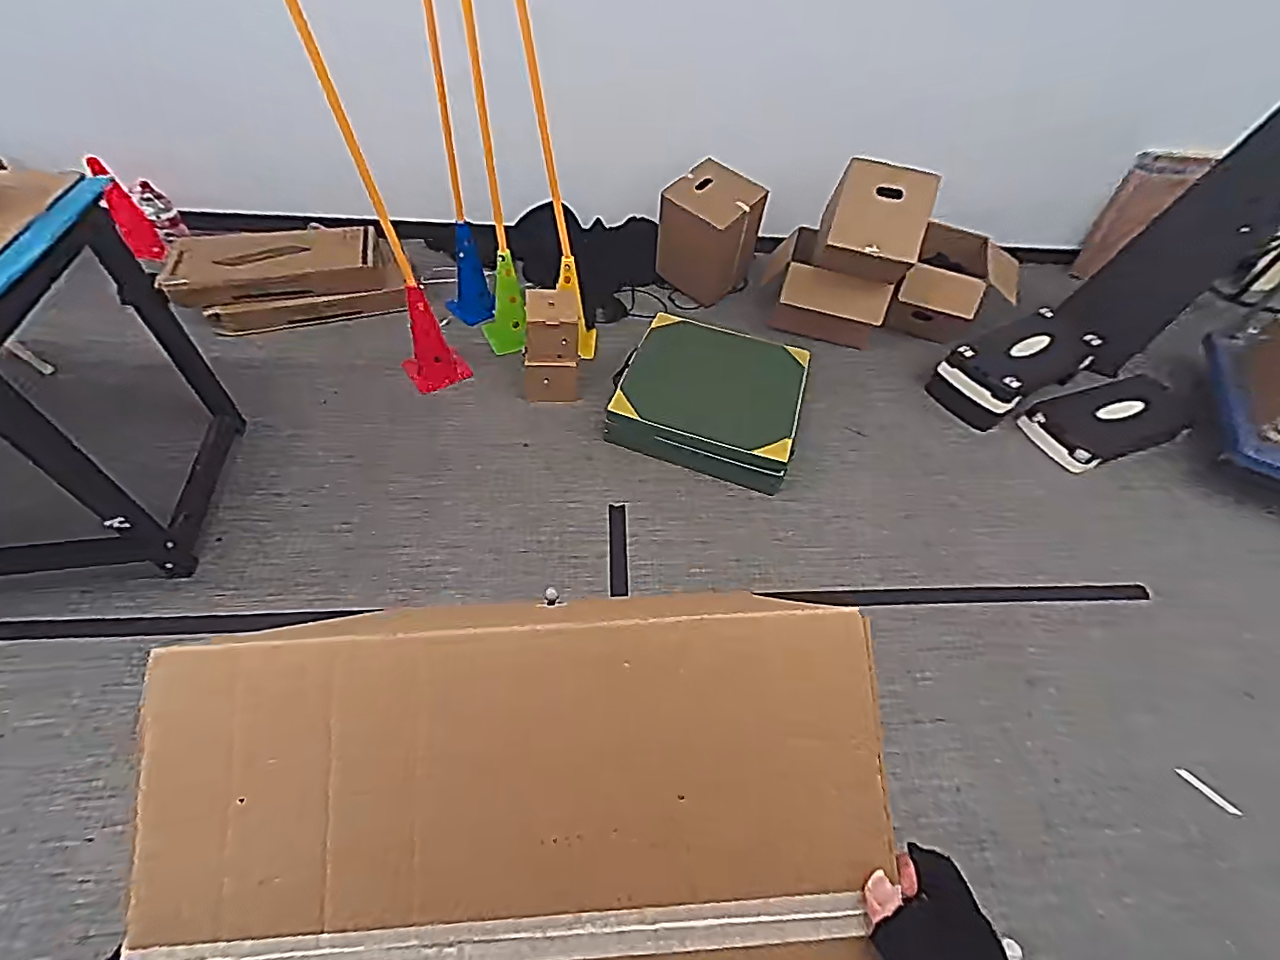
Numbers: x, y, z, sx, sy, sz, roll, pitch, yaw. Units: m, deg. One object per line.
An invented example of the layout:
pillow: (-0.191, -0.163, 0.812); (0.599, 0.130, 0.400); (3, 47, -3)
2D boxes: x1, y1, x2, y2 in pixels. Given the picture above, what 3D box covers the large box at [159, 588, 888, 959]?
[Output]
large box: (-0.063, 0.267, 0.447); (0.408, 0.320, 0.320); (-3, 81, -2)
